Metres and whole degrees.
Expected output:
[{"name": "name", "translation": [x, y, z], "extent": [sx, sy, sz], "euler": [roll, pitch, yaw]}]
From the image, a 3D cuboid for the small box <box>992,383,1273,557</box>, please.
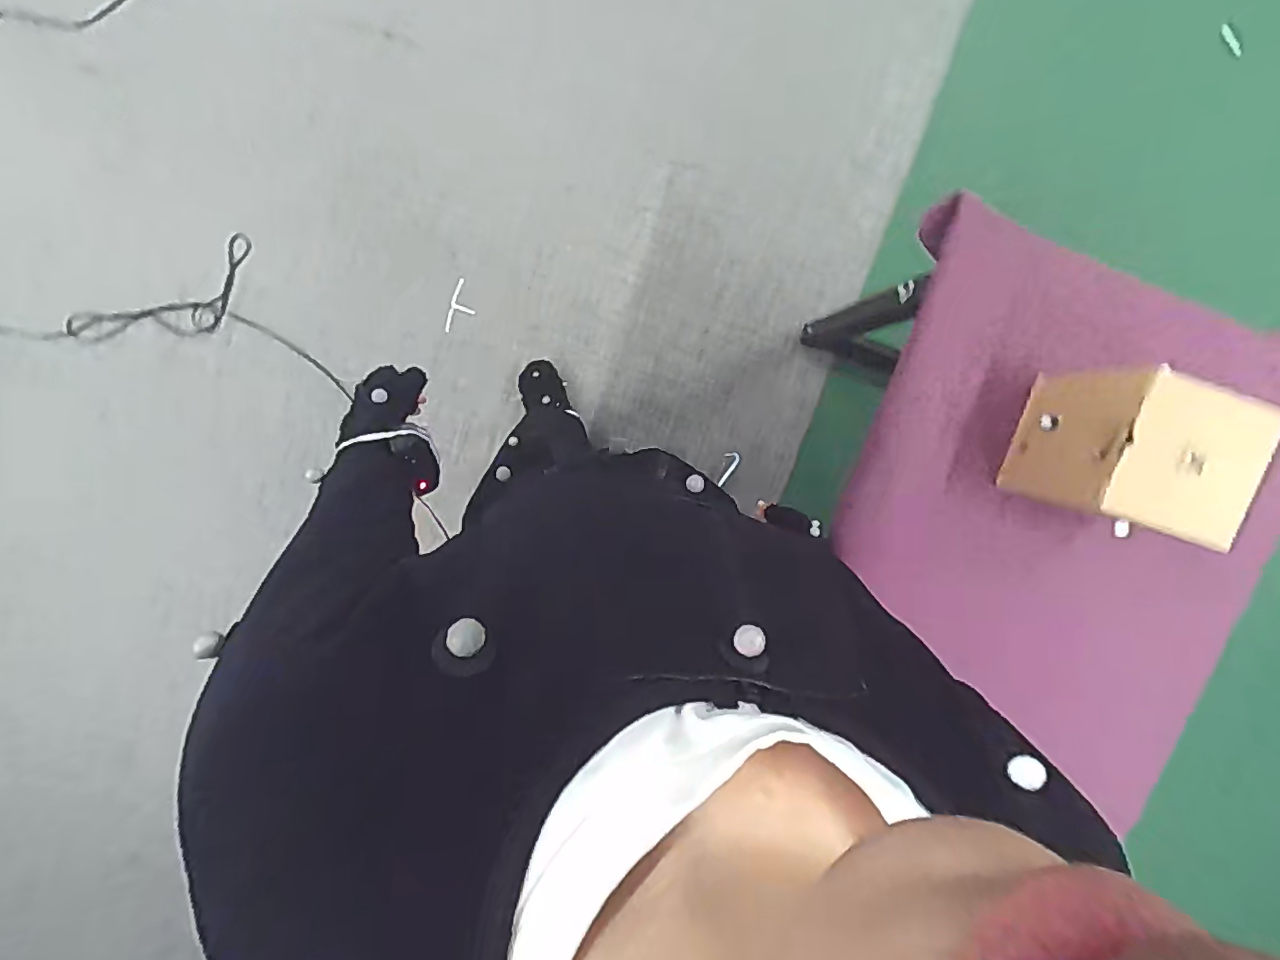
[{"name": "small box", "translation": [0.615, -0.022, 0.700], "extent": [0.179, 0.176, 0.168], "euler": [17, 97, -5]}]
